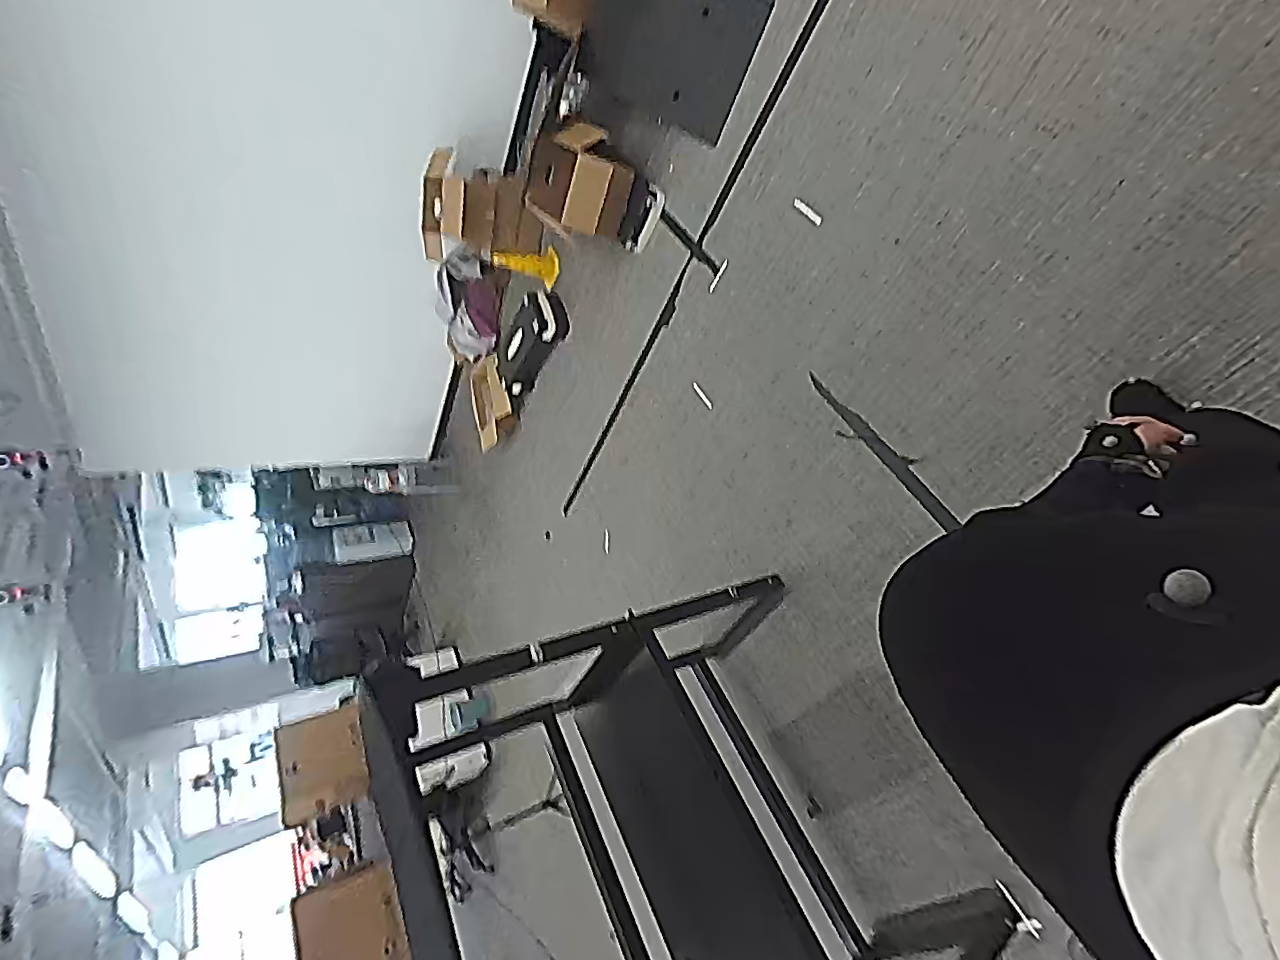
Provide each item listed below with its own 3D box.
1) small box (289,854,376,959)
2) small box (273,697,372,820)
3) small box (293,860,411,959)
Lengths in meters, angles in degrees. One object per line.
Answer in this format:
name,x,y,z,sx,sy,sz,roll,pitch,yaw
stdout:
small box,-0.705,1.006,1.259,0.179,0.176,0.168,-53,53,42
small box,-0.705,0.616,1.203,0.168,0.176,0.179,57,136,29
small box,-0.547,0.862,1.029,0.168,0.176,0.179,59,138,29
